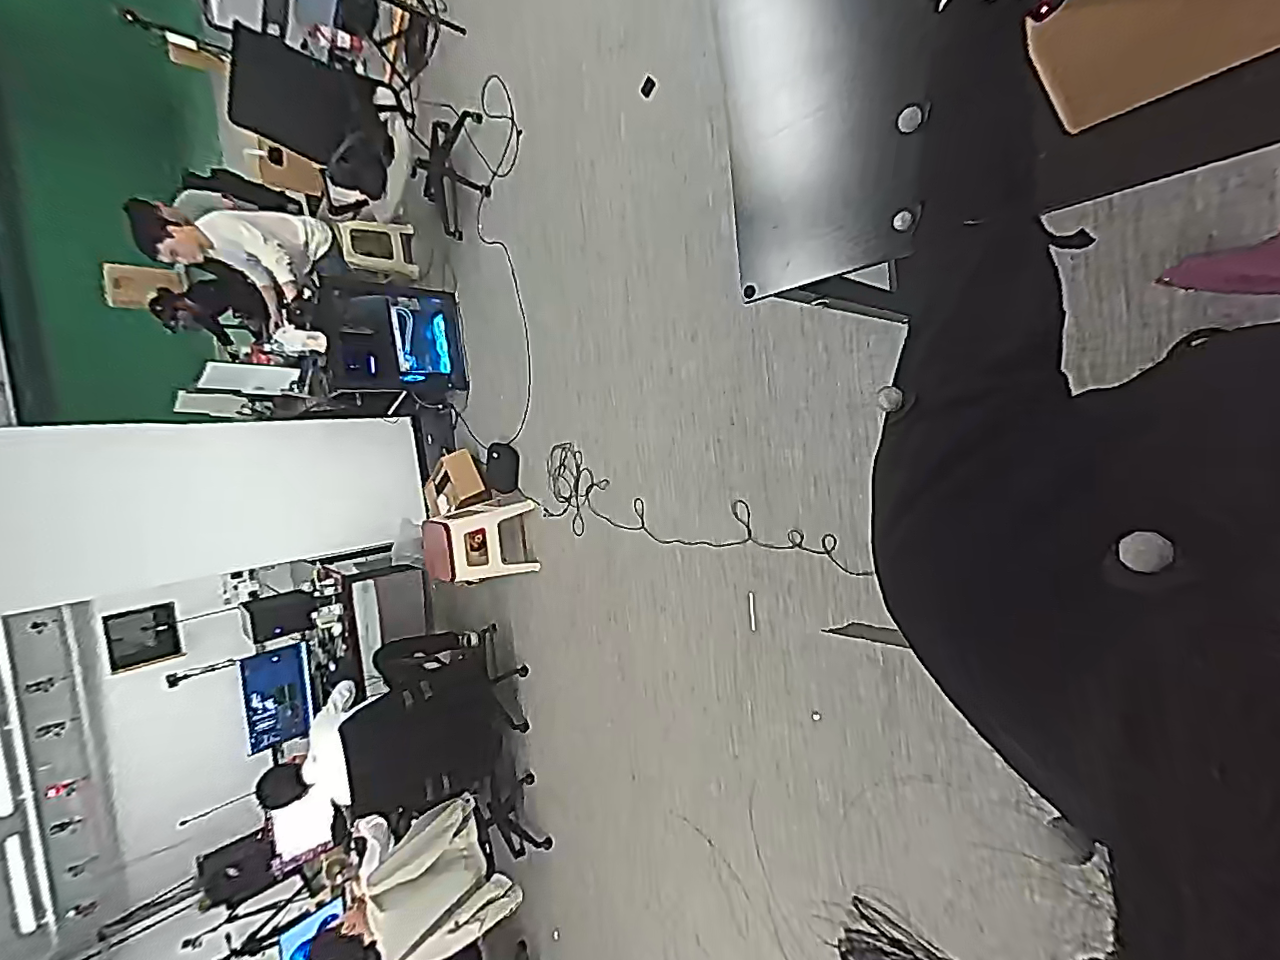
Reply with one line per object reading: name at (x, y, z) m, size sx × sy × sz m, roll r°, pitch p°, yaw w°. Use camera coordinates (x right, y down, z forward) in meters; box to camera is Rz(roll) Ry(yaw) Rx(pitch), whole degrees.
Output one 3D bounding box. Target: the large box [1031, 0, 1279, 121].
large box at (0.503, -0.554, 0.367) m, size 0.408 × 0.320 × 0.320 m, roll -8°, pitch 92°, yaw 46°
